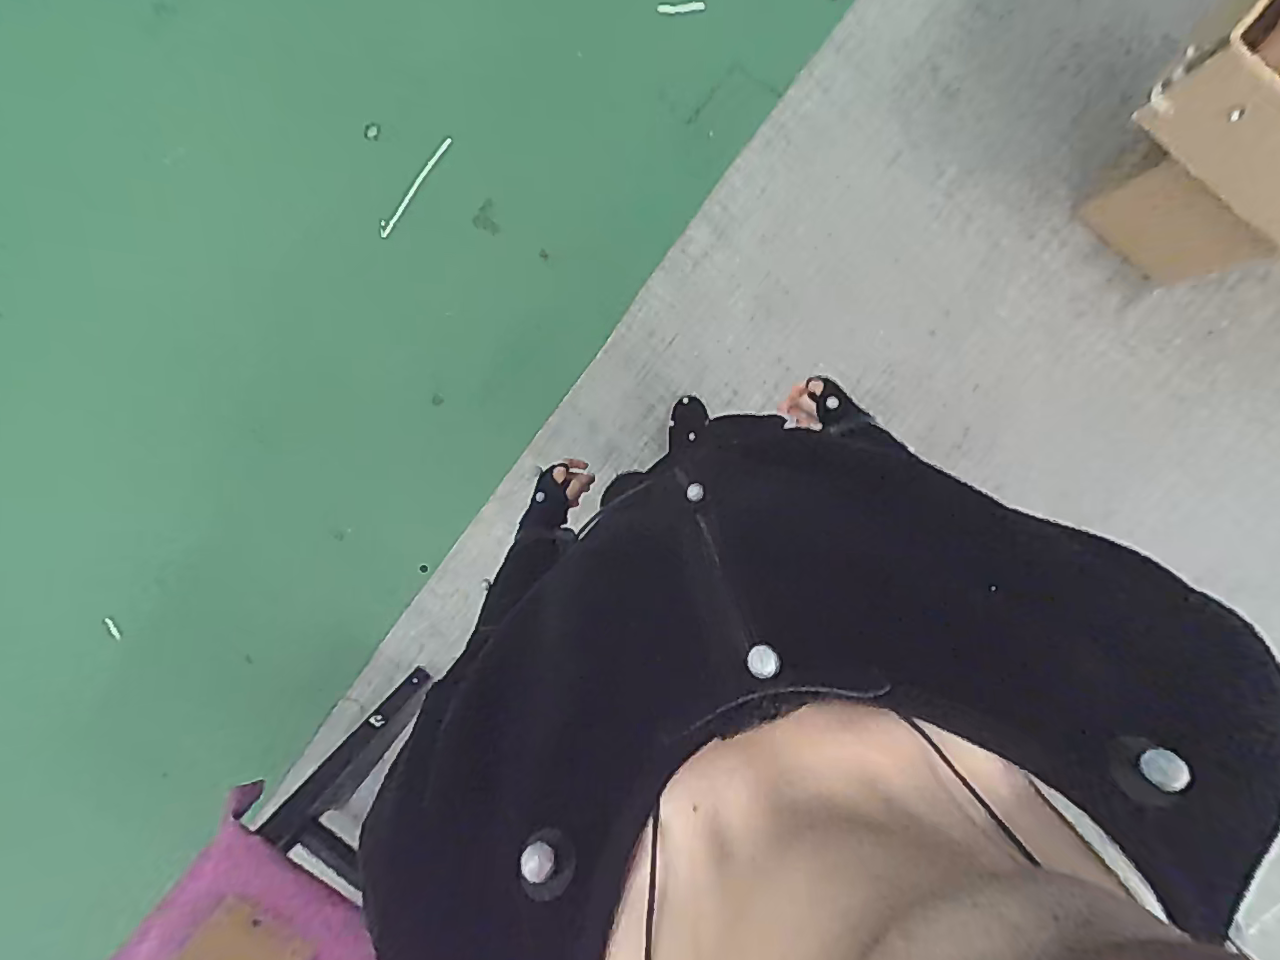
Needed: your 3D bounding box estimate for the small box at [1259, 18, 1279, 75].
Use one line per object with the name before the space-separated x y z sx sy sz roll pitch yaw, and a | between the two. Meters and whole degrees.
small box | 1.168 -0.752 0.847 0.168 0.176 0.179 35 98 -1
